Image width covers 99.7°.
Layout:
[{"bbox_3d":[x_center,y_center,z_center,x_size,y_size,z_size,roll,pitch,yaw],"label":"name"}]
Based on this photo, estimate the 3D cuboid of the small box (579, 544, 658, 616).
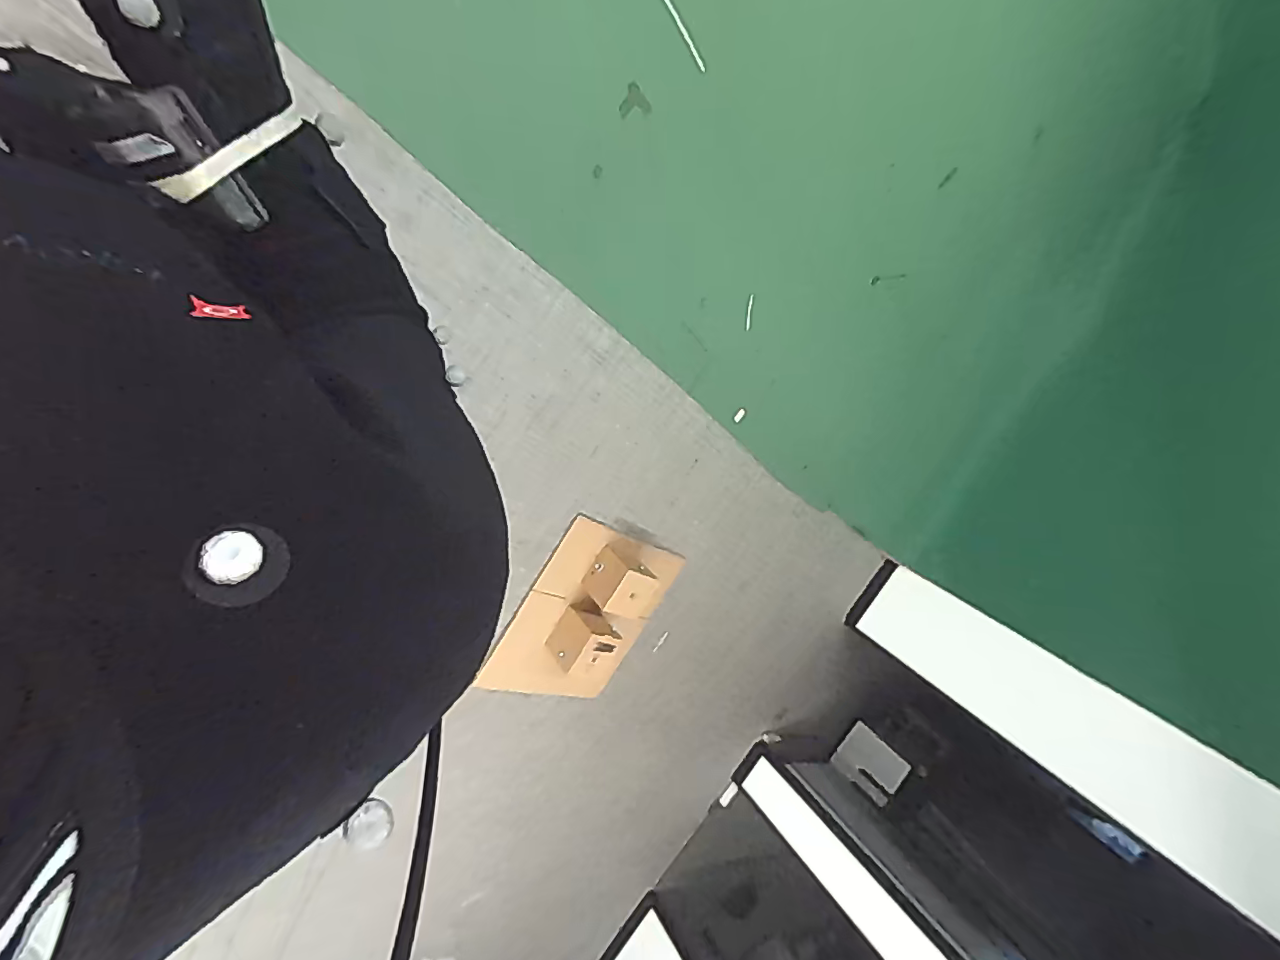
[{"bbox_3d":[-0.078,0.345,1.886,0.179,0.176,0.168,29,95,-43],"label":"small box"}]
